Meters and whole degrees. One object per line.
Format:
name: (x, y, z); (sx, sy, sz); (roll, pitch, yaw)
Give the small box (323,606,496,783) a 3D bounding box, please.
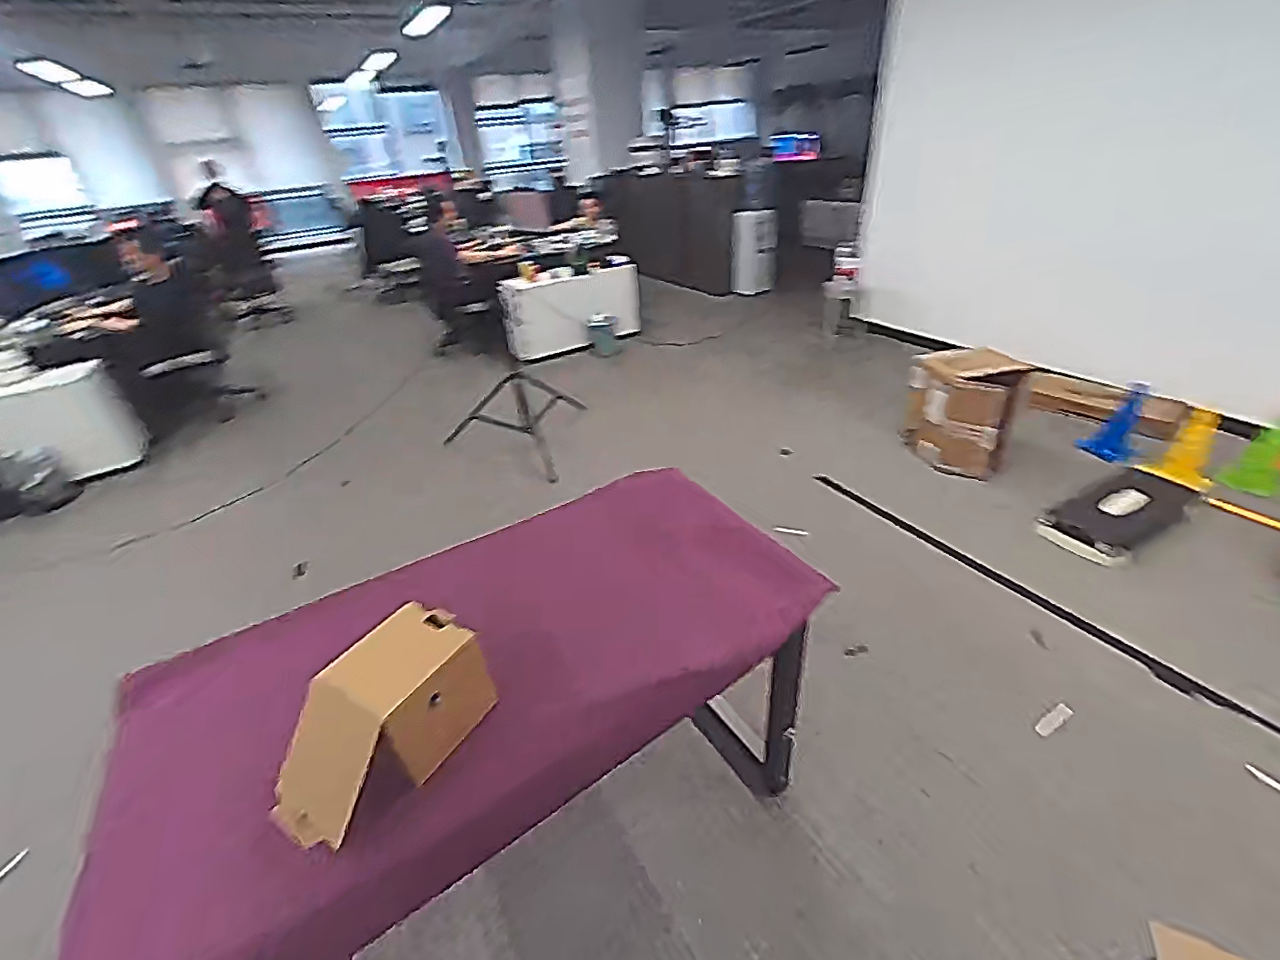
small box: (-0.361, 0.345, 0.877); (0.168, 0.176, 0.179); (14, 37, 30)
